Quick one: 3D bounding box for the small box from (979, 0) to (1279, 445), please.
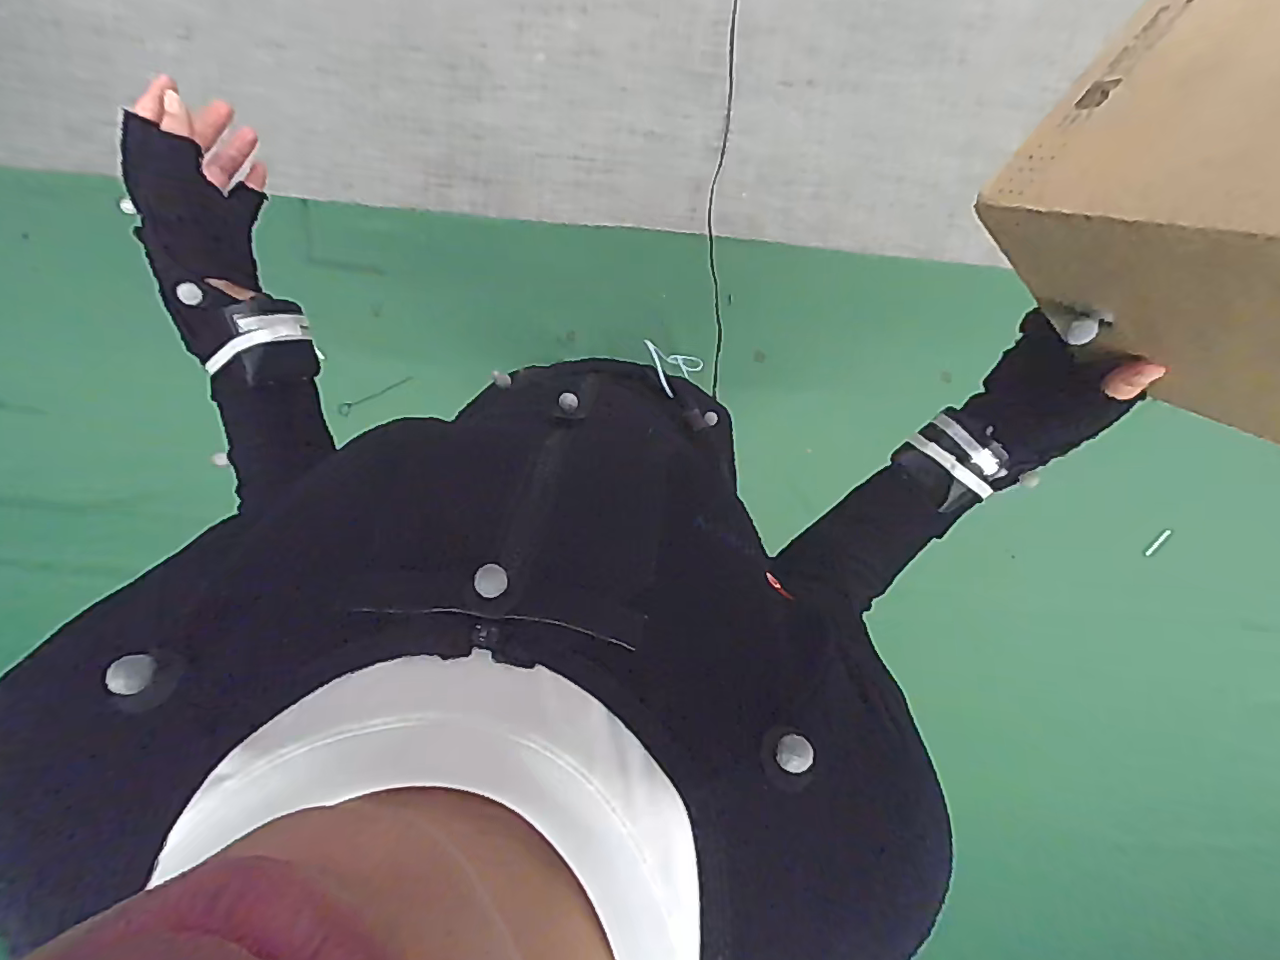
[{"bbox_3d":[0.307,-0.131,0.242,0.179,0.176,0.168,30,109,-29],"label":"small box"}]
